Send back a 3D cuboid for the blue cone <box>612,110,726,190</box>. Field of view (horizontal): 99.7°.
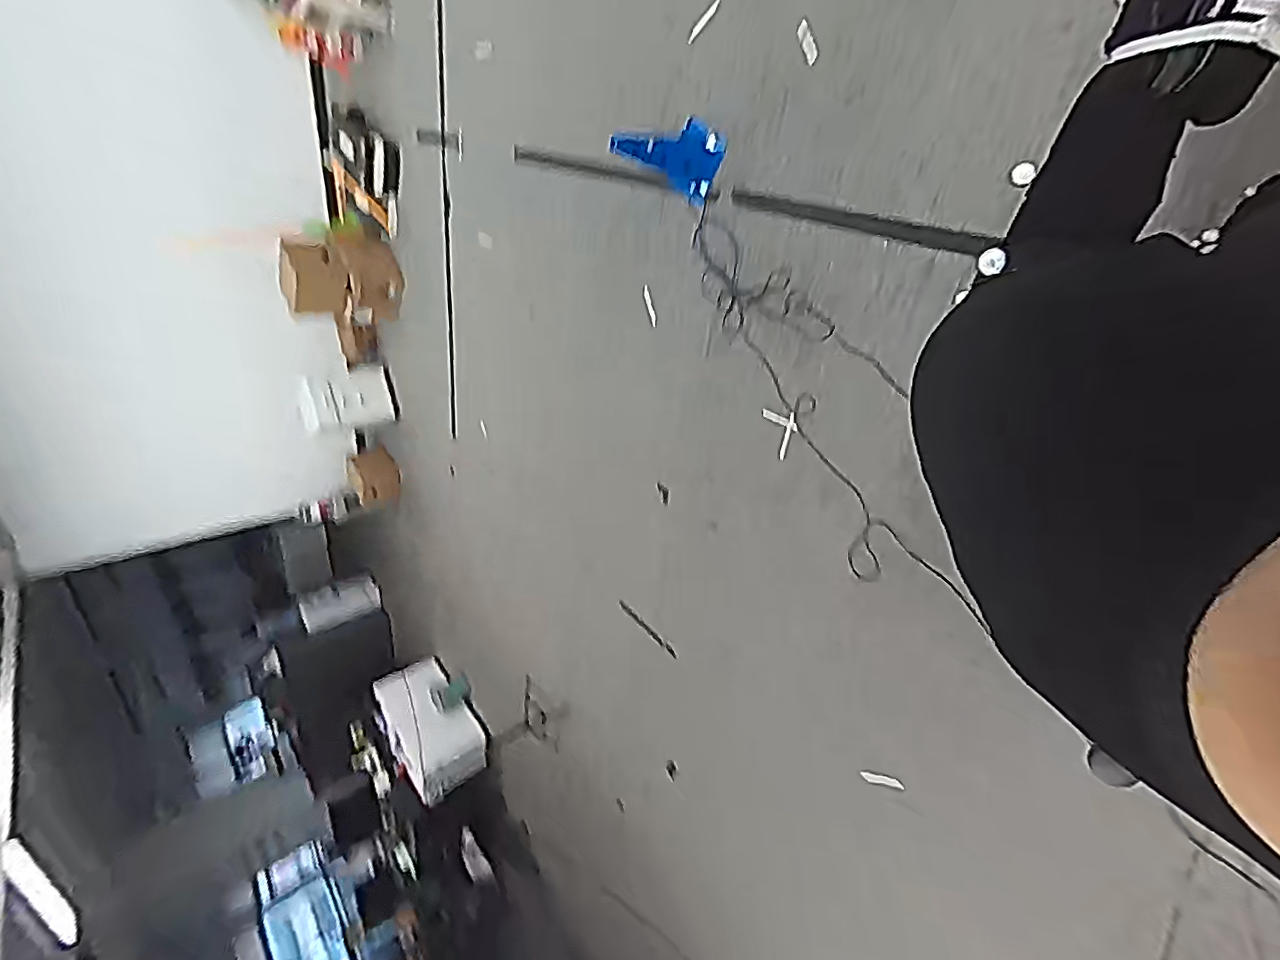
[{"bbox_3d":[0.072,-1.042,1.668,0.192,0.380,0.193,53,136,22],"label":"blue cone"}]
